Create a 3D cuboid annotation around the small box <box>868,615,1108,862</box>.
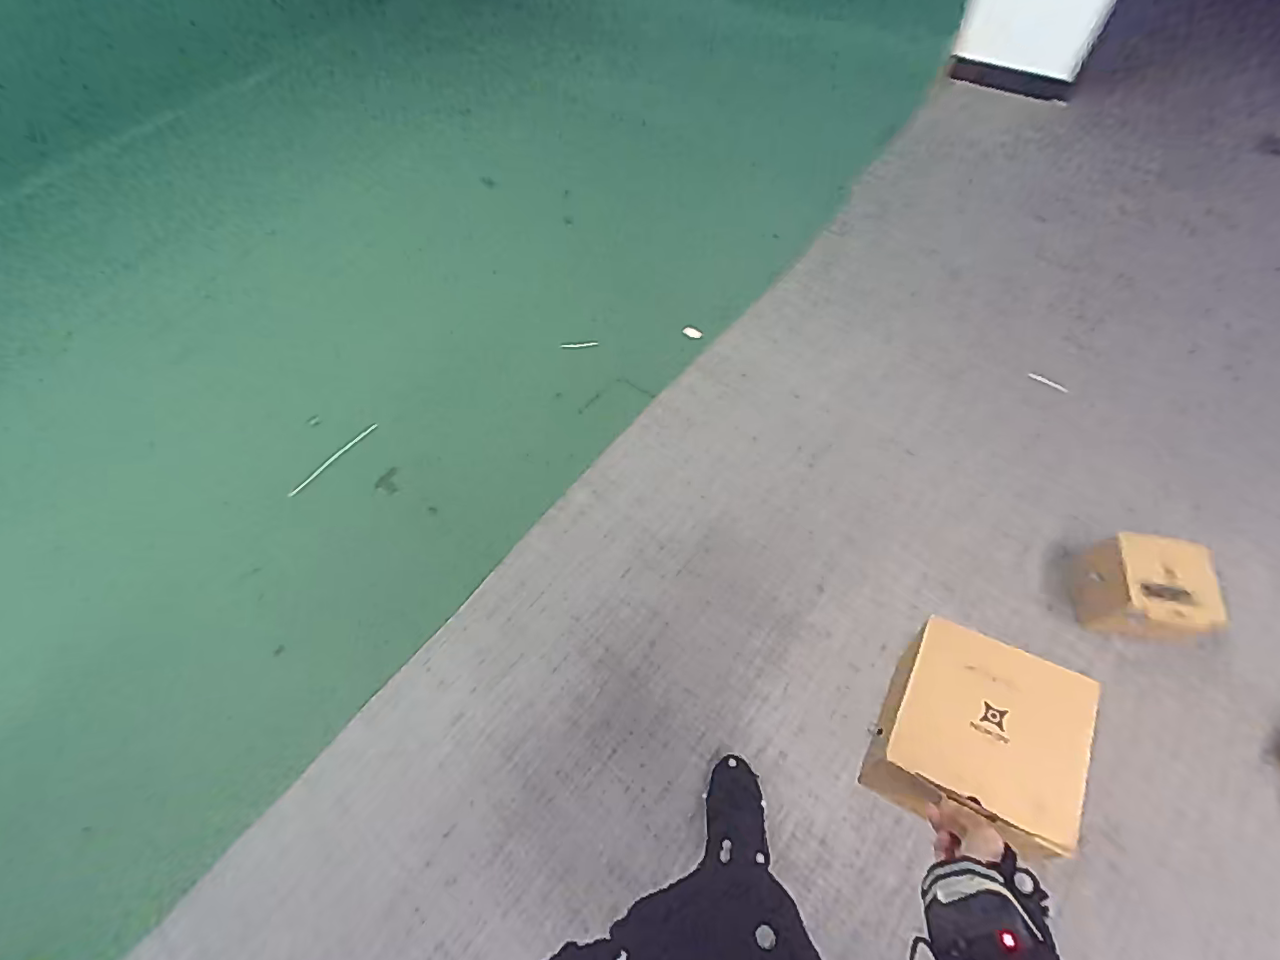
[{"bbox_3d":[0.371,0.291,0.603,0.168,0.176,0.179,23,59,24],"label":"small box"}]
